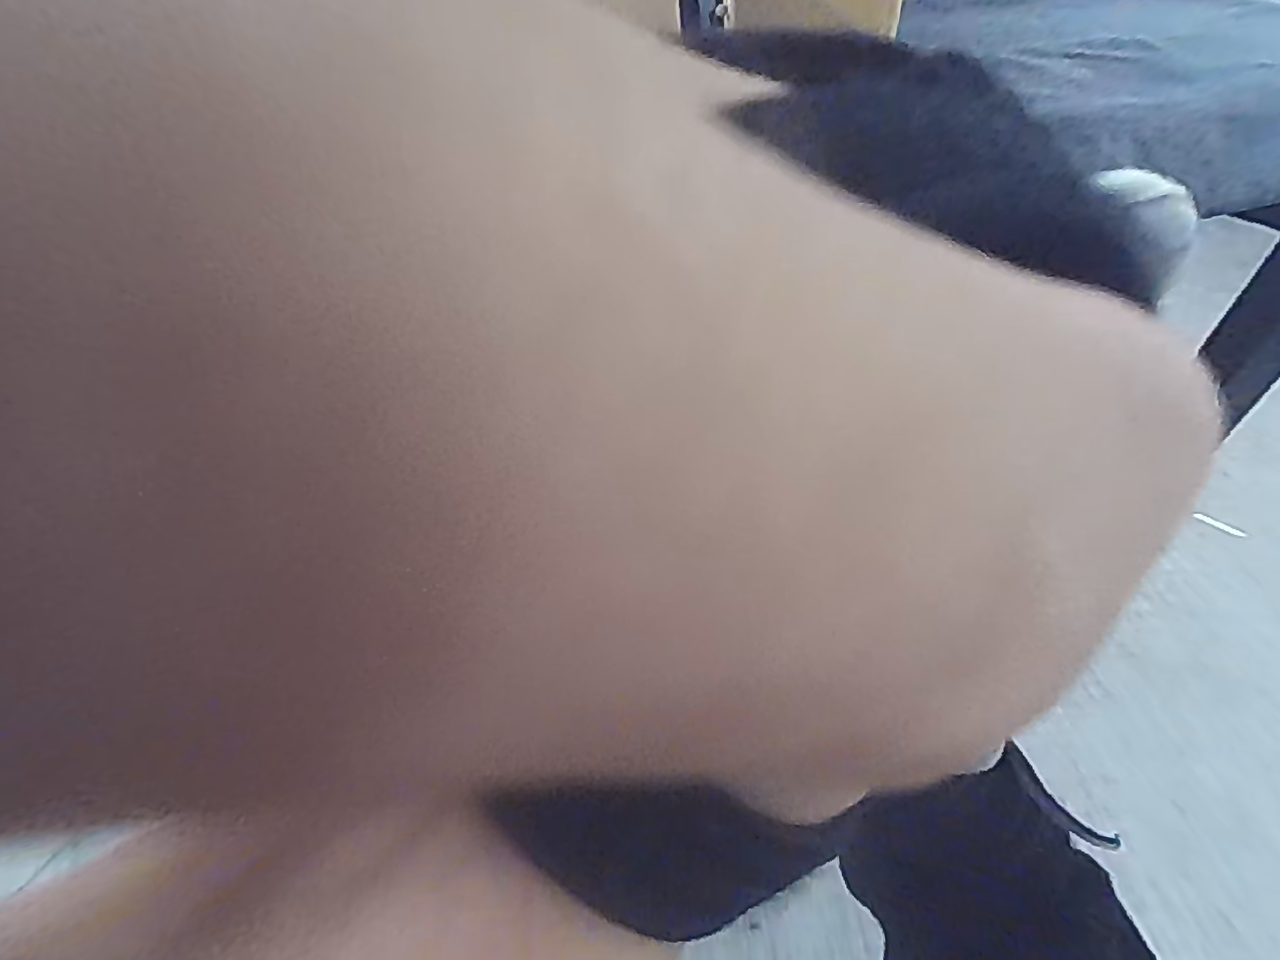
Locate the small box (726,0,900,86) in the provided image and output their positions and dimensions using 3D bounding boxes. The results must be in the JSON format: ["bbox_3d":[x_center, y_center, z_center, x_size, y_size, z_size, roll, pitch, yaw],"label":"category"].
[{"bbox_3d":[0.187,-0.566,0.597,0.179,0.176,0.168,-5,48,8],"label":"small box"}]
